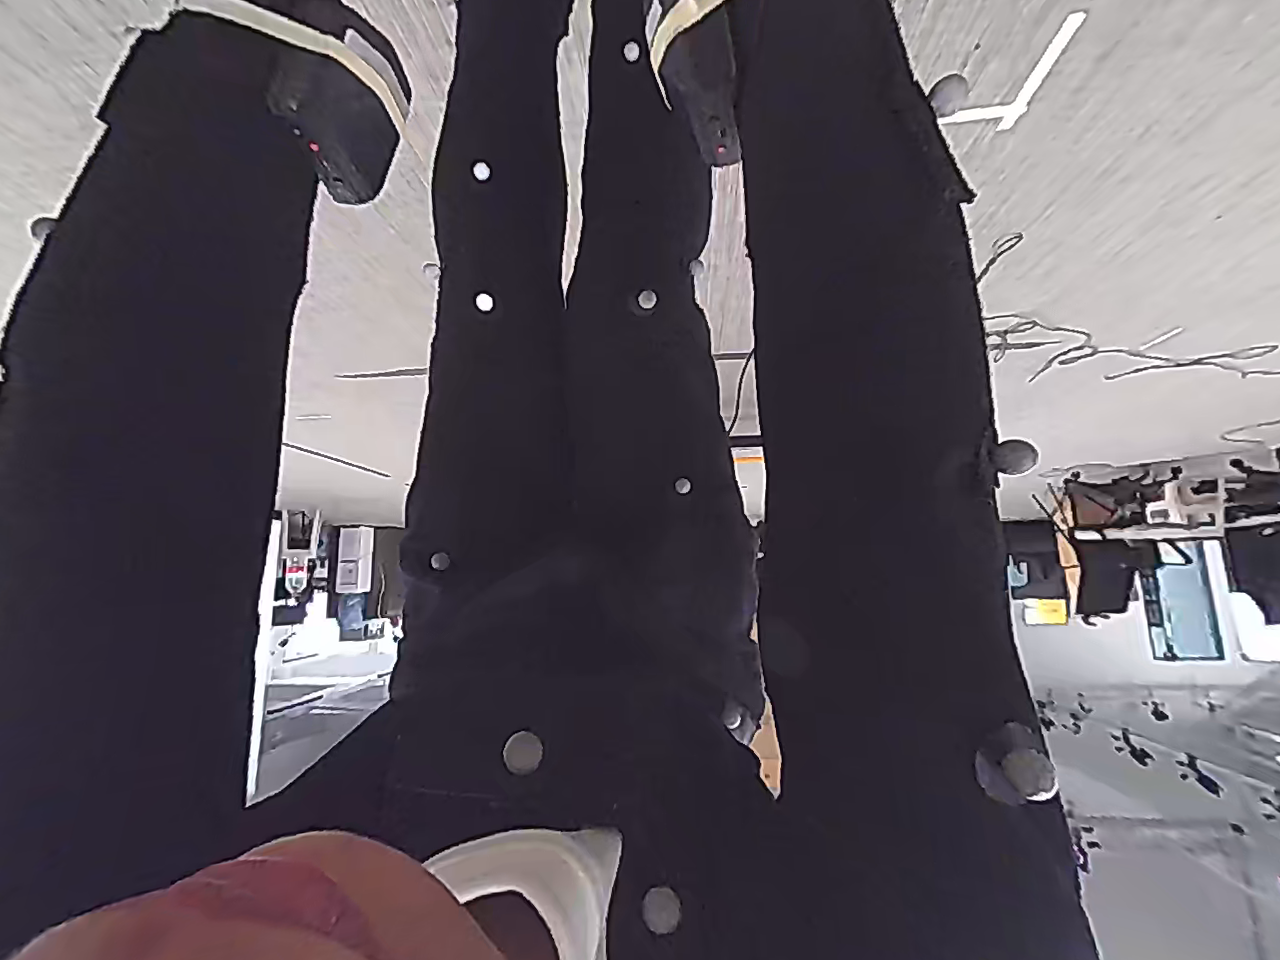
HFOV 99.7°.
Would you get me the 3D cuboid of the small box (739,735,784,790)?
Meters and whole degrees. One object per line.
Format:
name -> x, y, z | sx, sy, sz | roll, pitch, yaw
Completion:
small box -> 0.519, 1.210, 2.326 | 0.179, 0.176, 0.168 | -1, 170, 9
